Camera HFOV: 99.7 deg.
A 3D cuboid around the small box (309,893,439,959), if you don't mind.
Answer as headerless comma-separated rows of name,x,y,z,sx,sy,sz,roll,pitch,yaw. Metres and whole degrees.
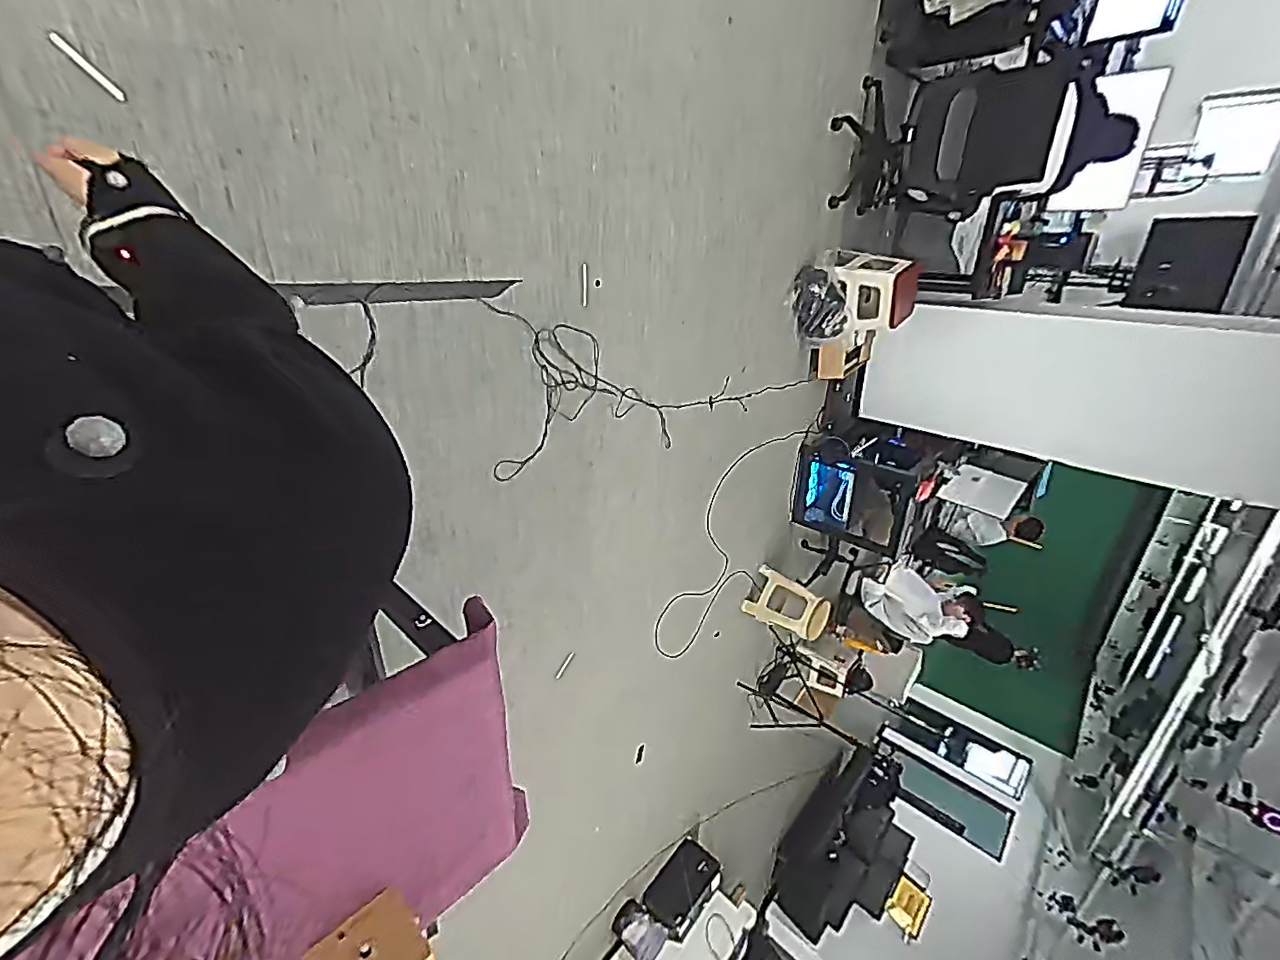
small box,-0.473,0.905,0.978,0.168,0.176,0.179,-23,121,-42
